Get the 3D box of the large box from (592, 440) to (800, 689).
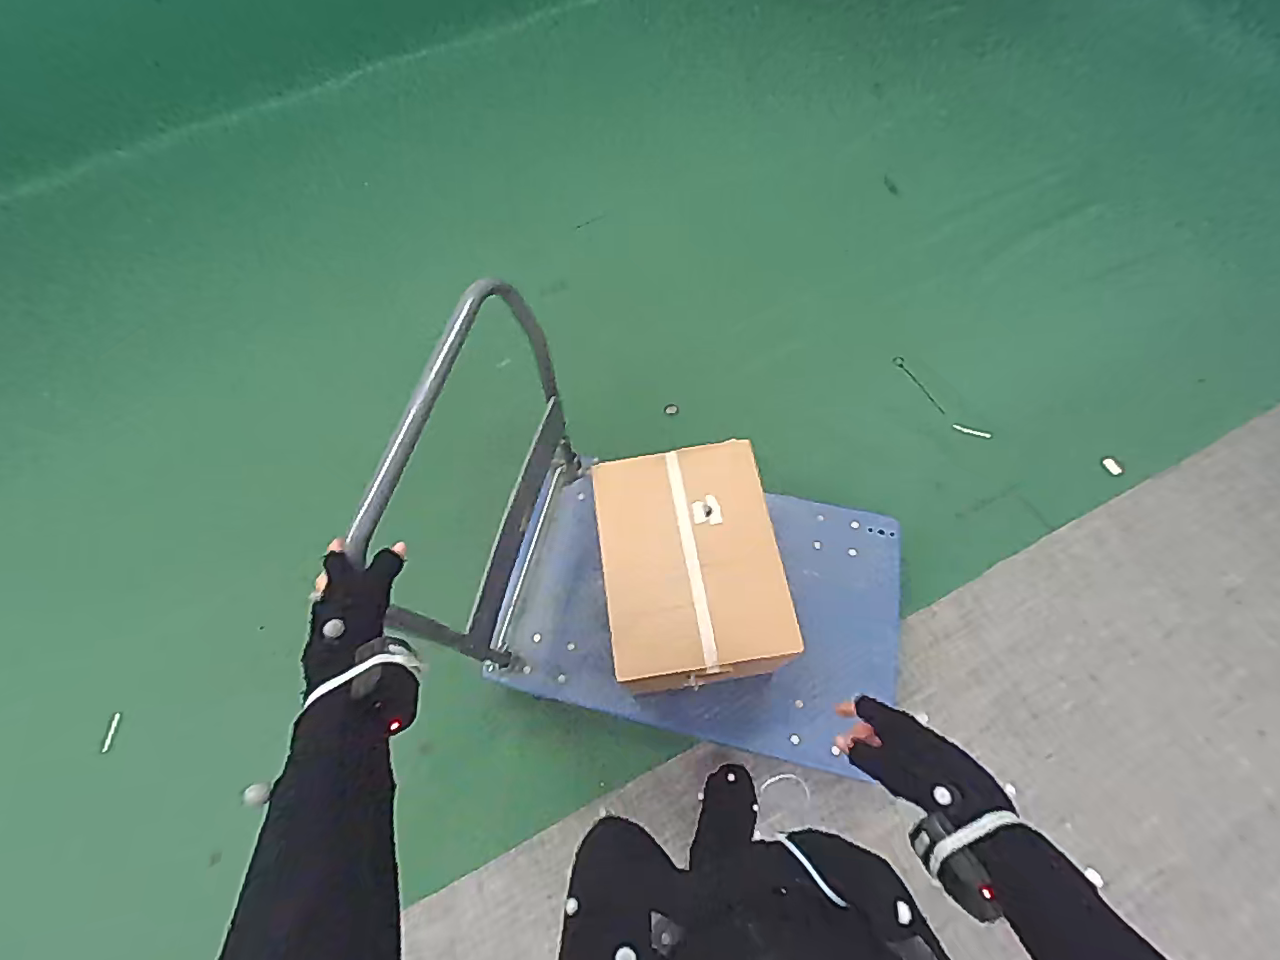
[{"bbox_3d":[0.099,0.185,1.110,0.320,0.320,0.408,-9,64,0],"label":"large box"}]
